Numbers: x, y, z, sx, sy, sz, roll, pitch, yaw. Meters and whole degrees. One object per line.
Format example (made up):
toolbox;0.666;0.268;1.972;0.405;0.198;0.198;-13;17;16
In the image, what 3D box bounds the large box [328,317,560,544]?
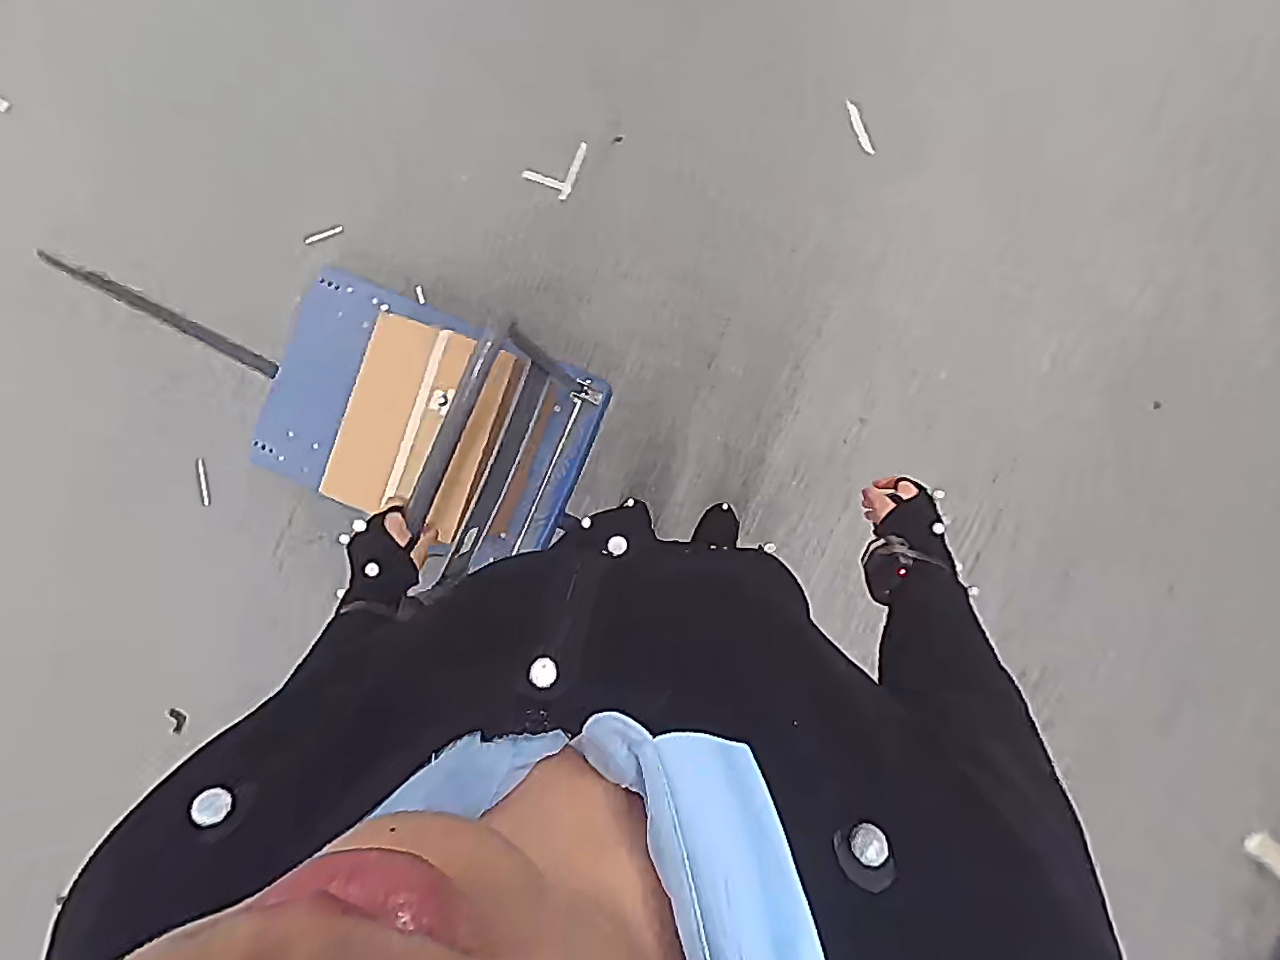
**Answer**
large box;-0.425;-0.096;1.248;0.320;0.320;0.408;20;90;7
